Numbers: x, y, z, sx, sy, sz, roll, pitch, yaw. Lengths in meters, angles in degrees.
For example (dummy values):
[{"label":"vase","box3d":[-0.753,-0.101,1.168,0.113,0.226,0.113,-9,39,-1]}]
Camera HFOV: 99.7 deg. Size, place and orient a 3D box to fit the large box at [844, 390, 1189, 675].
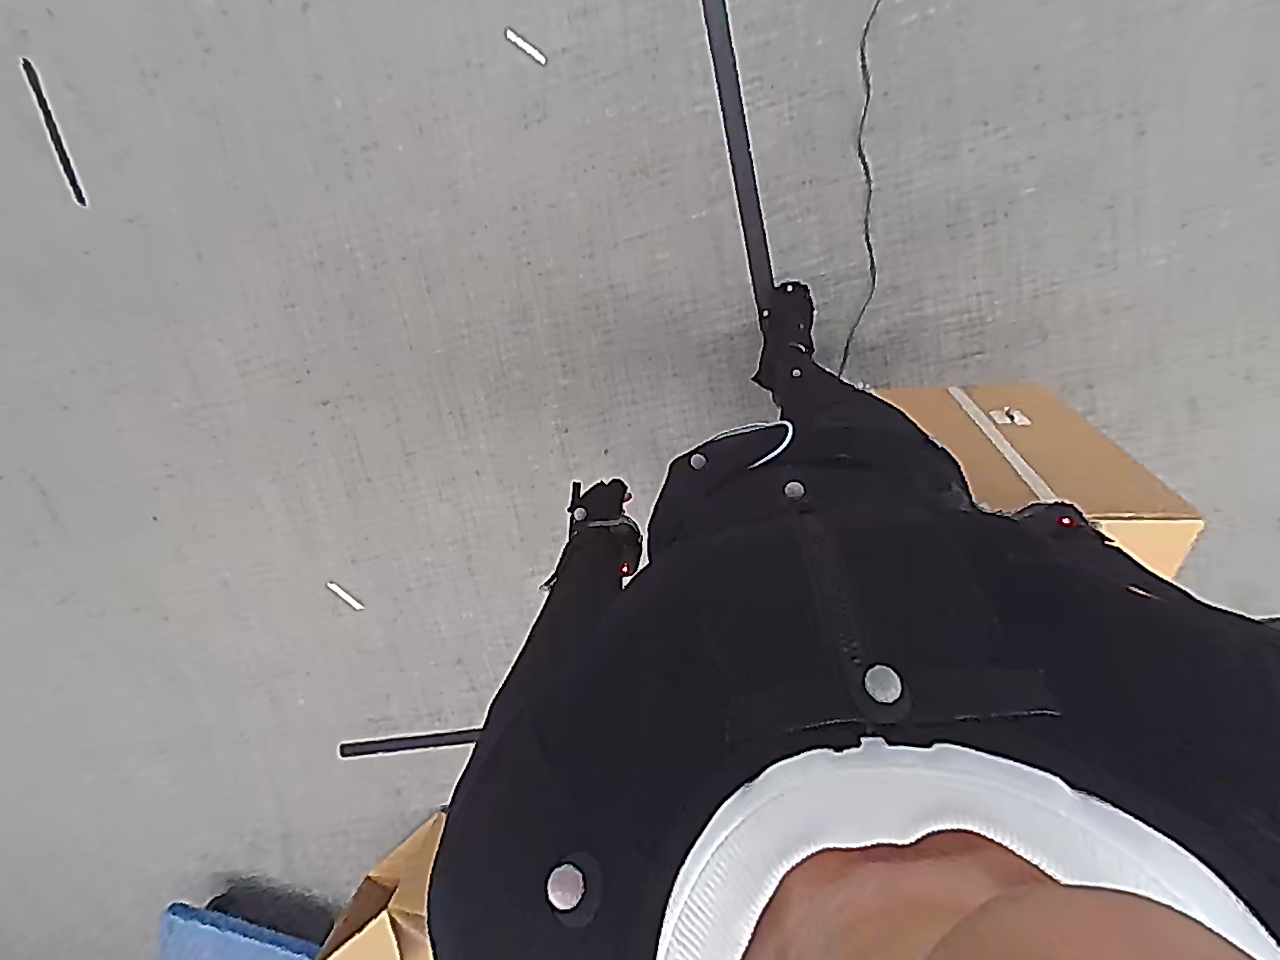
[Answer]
[{"label":"large box","box3d":[0.558,0.070,0.920,0.320,0.408,0.320,0,121,8]}]
